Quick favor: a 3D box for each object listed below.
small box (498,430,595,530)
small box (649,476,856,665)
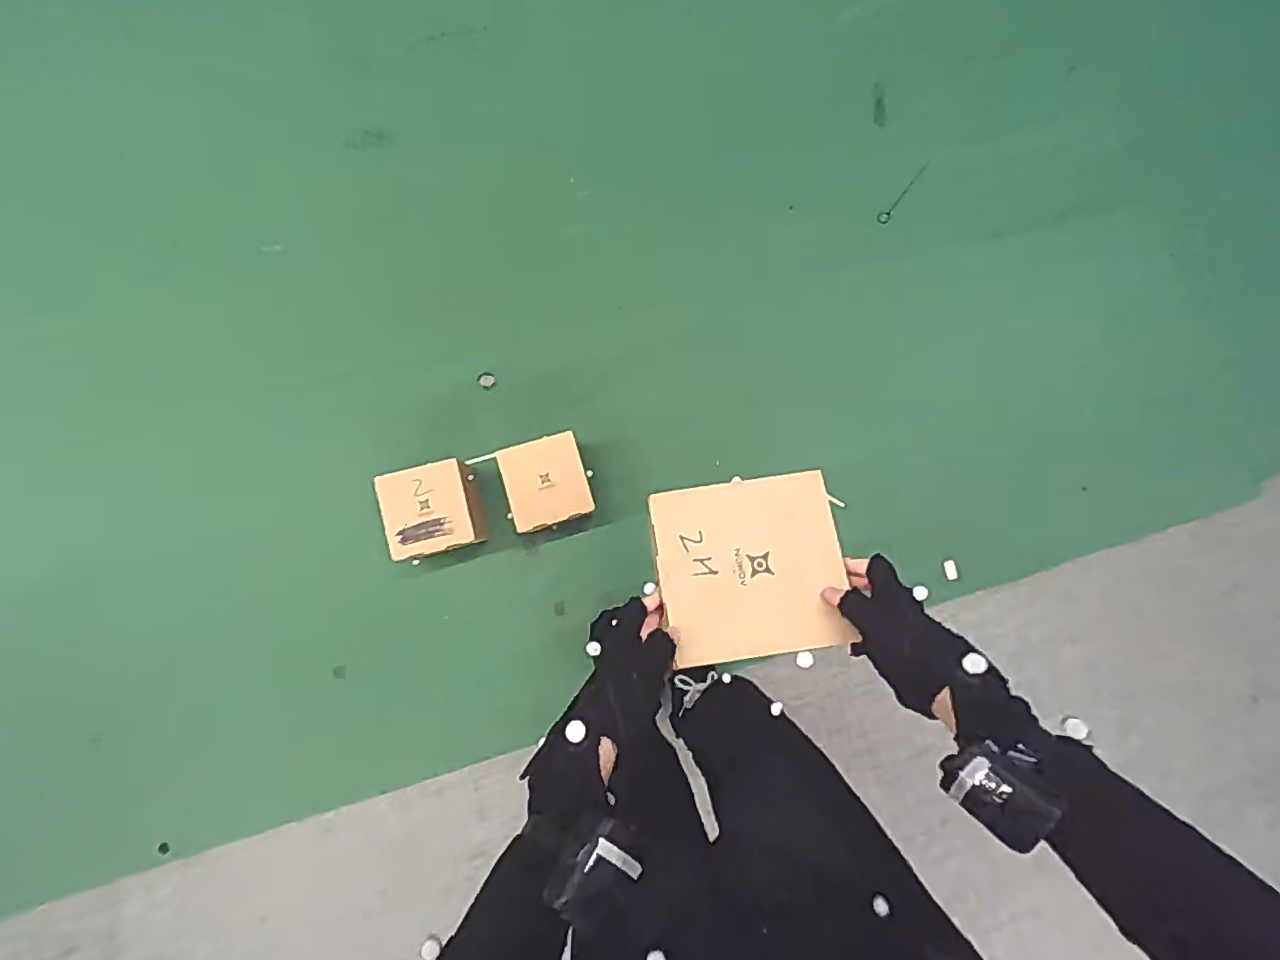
[{"bbox_3d":[-0.202,0.006,1.188,0.168,0.176,0.179,-16,88,-8],"label":"small box"},{"bbox_3d":[0.105,0.102,0.591,0.179,0.176,0.168,-7,74,-1],"label":"small box"}]
